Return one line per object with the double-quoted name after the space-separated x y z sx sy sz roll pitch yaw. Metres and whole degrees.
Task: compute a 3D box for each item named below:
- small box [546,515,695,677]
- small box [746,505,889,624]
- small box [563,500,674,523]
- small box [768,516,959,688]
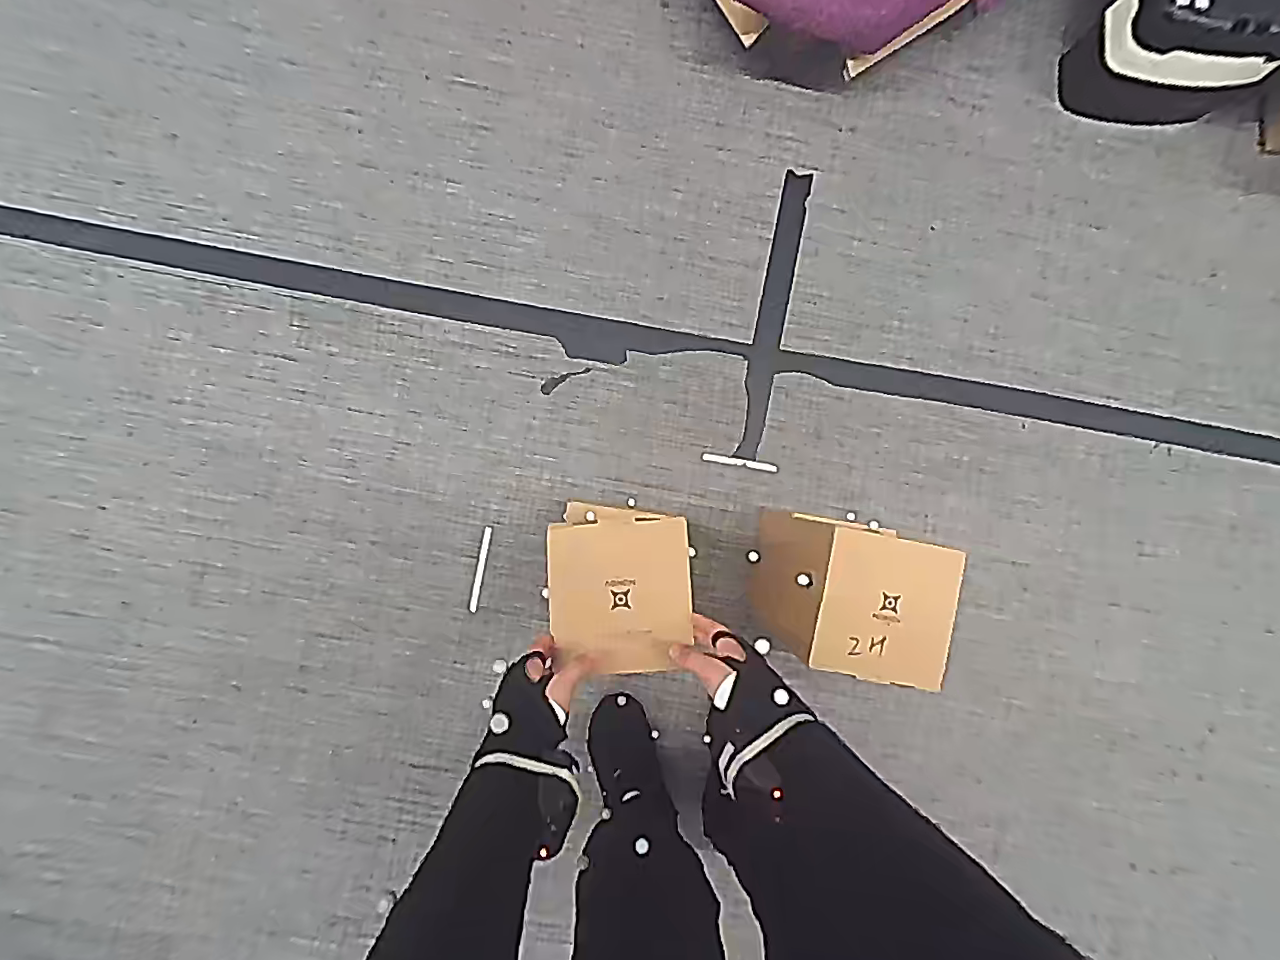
-0.025 0.143 0.701 0.168 0.176 0.179 -5 83 0 "small box"
0.281 0.144 0.893 0.168 0.176 0.179 10 90 -3 "small box"
-0.038 0.124 0.876 0.179 0.176 0.168 8 90 -3 "small box"
0.284 0.149 0.727 0.168 0.176 0.179 12 90 -3 "small box"
